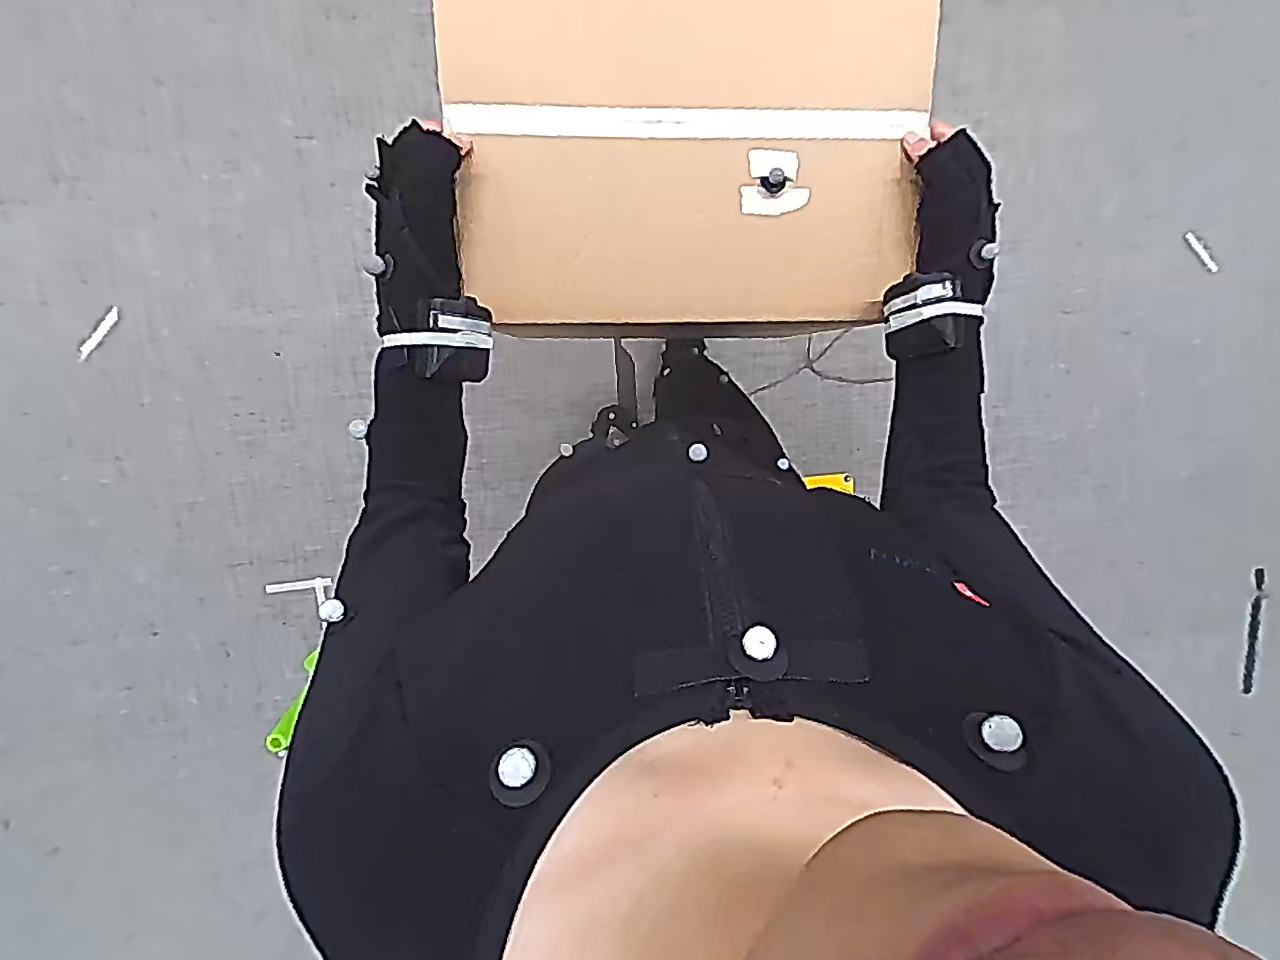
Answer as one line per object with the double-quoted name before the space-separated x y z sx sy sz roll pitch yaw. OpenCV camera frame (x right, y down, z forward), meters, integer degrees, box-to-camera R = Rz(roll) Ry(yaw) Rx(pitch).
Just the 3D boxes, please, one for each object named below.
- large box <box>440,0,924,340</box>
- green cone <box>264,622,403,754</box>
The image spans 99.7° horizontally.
"large box" 0.028 -0.328 0.601 0.408 0.320 0.320 -2 102 -5
"green cone" -0.778 0.534 1.318 0.202 0.368 0.200 -41 96 4
